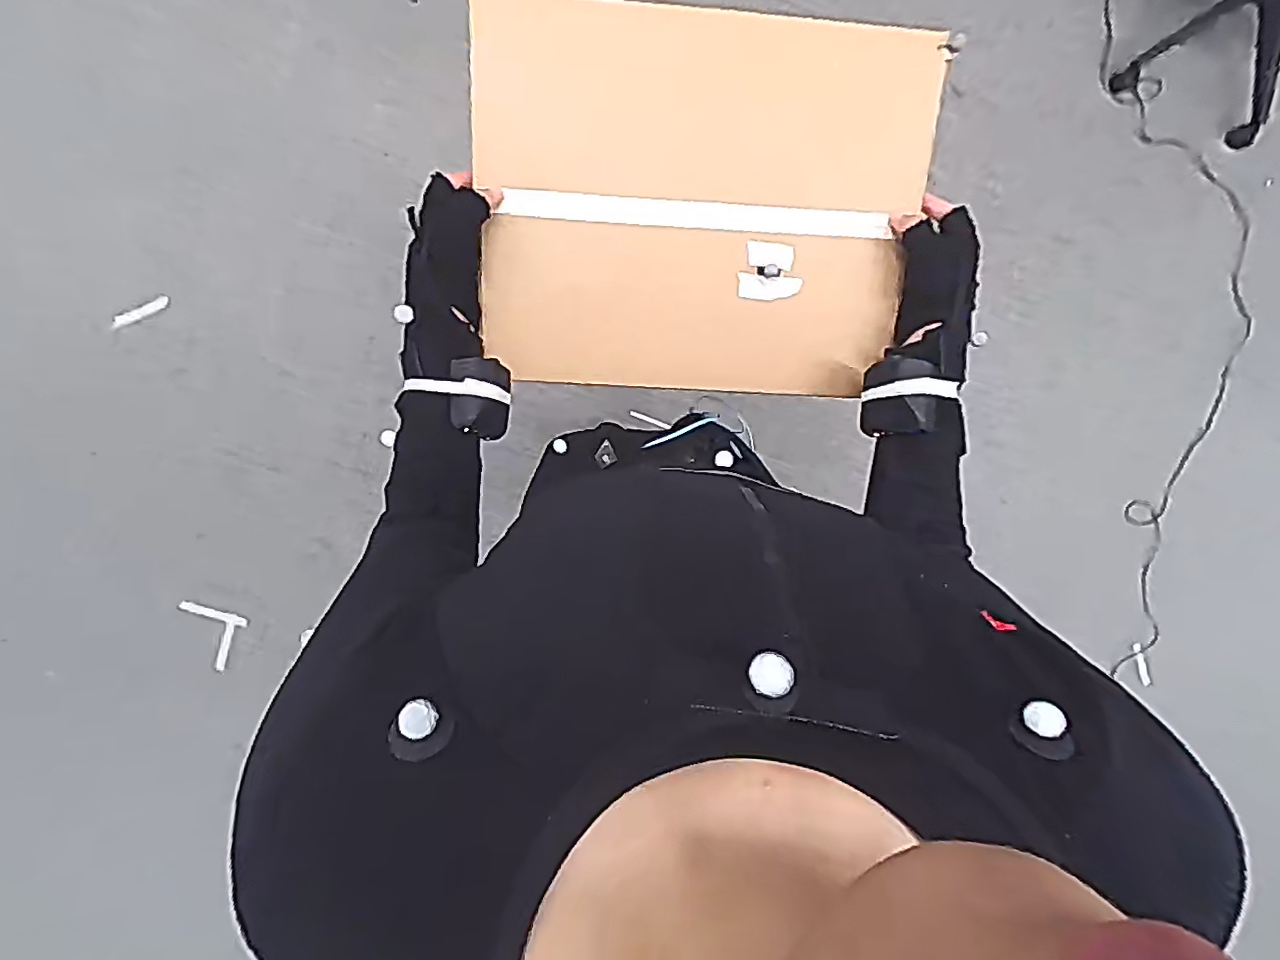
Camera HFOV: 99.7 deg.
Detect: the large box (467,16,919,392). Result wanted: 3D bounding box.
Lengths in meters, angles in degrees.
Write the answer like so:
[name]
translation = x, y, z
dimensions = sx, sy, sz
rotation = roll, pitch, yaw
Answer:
[large box]
translation = 0.037, -0.278, 0.647
dimensions = 0.408, 0.320, 0.320
rotation = 1, 106, -5
